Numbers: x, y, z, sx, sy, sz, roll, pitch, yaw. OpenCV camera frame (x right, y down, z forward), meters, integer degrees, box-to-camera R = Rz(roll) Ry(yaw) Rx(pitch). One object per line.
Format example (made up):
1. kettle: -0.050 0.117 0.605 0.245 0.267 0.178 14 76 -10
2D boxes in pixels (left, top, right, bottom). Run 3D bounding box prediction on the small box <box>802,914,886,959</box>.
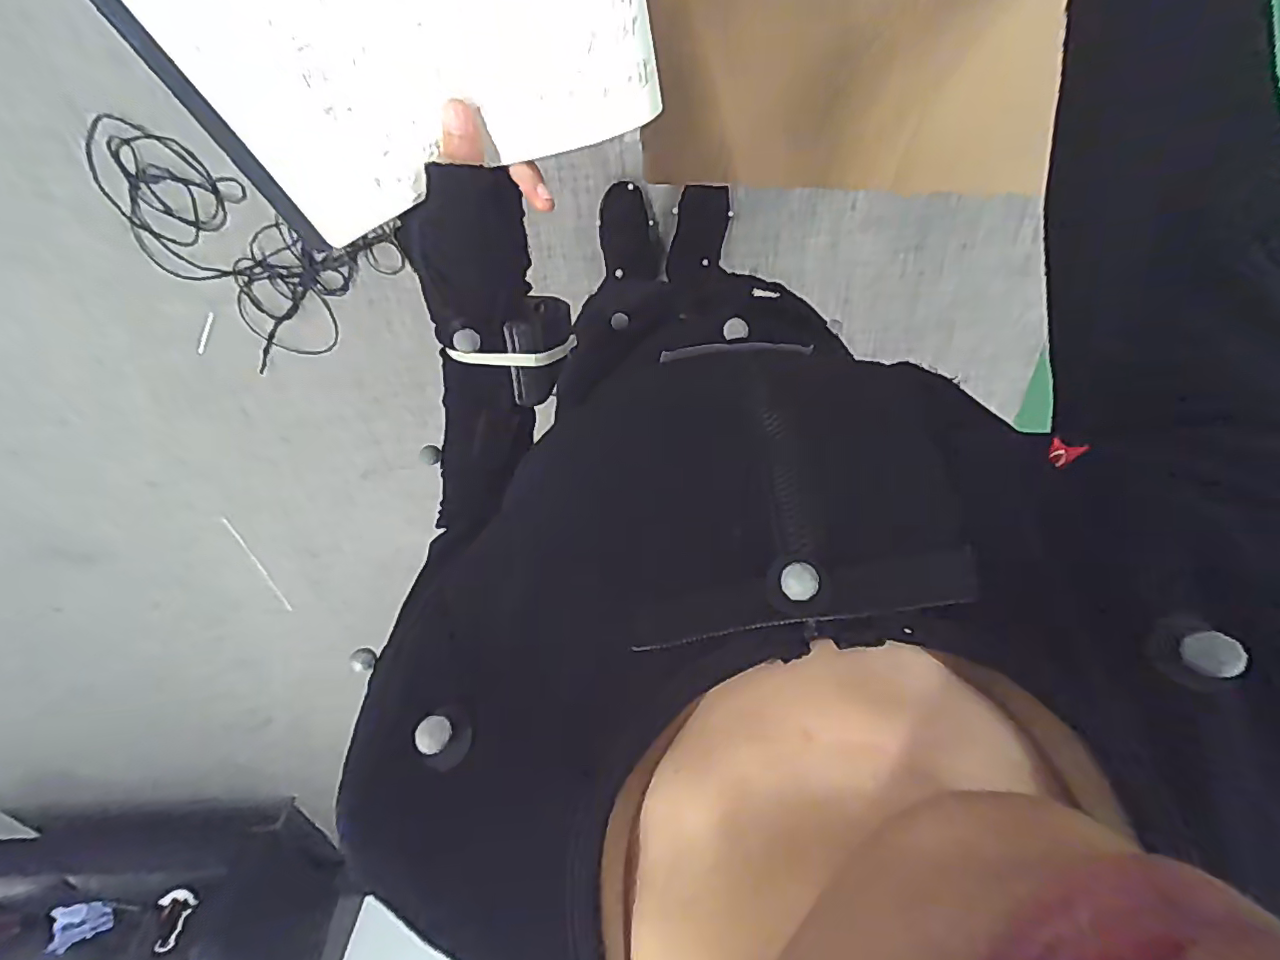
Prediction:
1. small box: 0.498 1.181 1.313 0.168 0.176 0.179 -3 126 4
